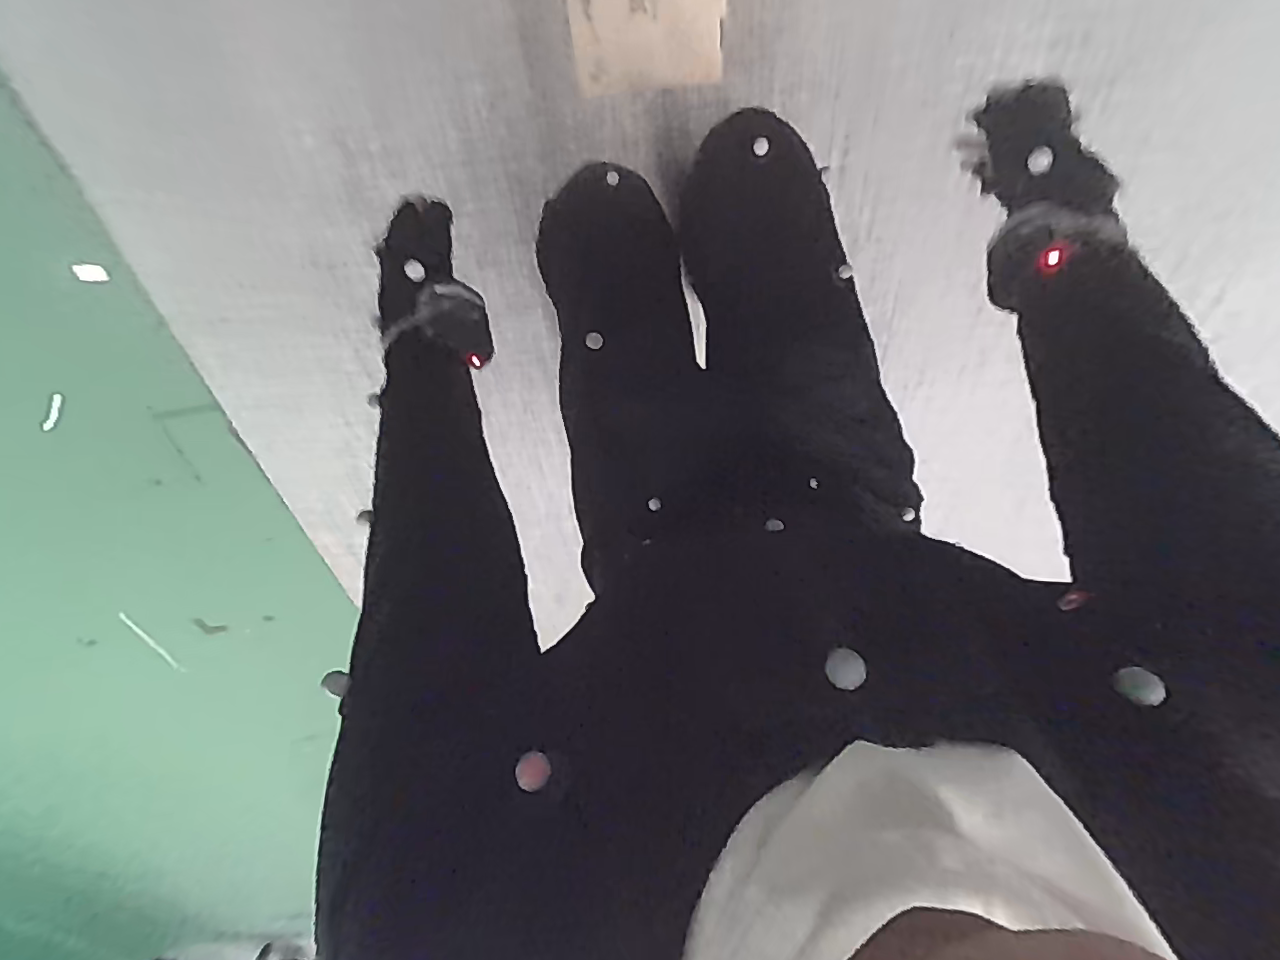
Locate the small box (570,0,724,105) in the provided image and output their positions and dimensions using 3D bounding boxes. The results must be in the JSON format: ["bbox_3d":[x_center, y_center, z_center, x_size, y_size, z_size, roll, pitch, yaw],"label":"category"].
[{"bbox_3d":[0.005,-0.588,0.679,0.179,0.176,0.168,-6,129,3],"label":"small box"}]
